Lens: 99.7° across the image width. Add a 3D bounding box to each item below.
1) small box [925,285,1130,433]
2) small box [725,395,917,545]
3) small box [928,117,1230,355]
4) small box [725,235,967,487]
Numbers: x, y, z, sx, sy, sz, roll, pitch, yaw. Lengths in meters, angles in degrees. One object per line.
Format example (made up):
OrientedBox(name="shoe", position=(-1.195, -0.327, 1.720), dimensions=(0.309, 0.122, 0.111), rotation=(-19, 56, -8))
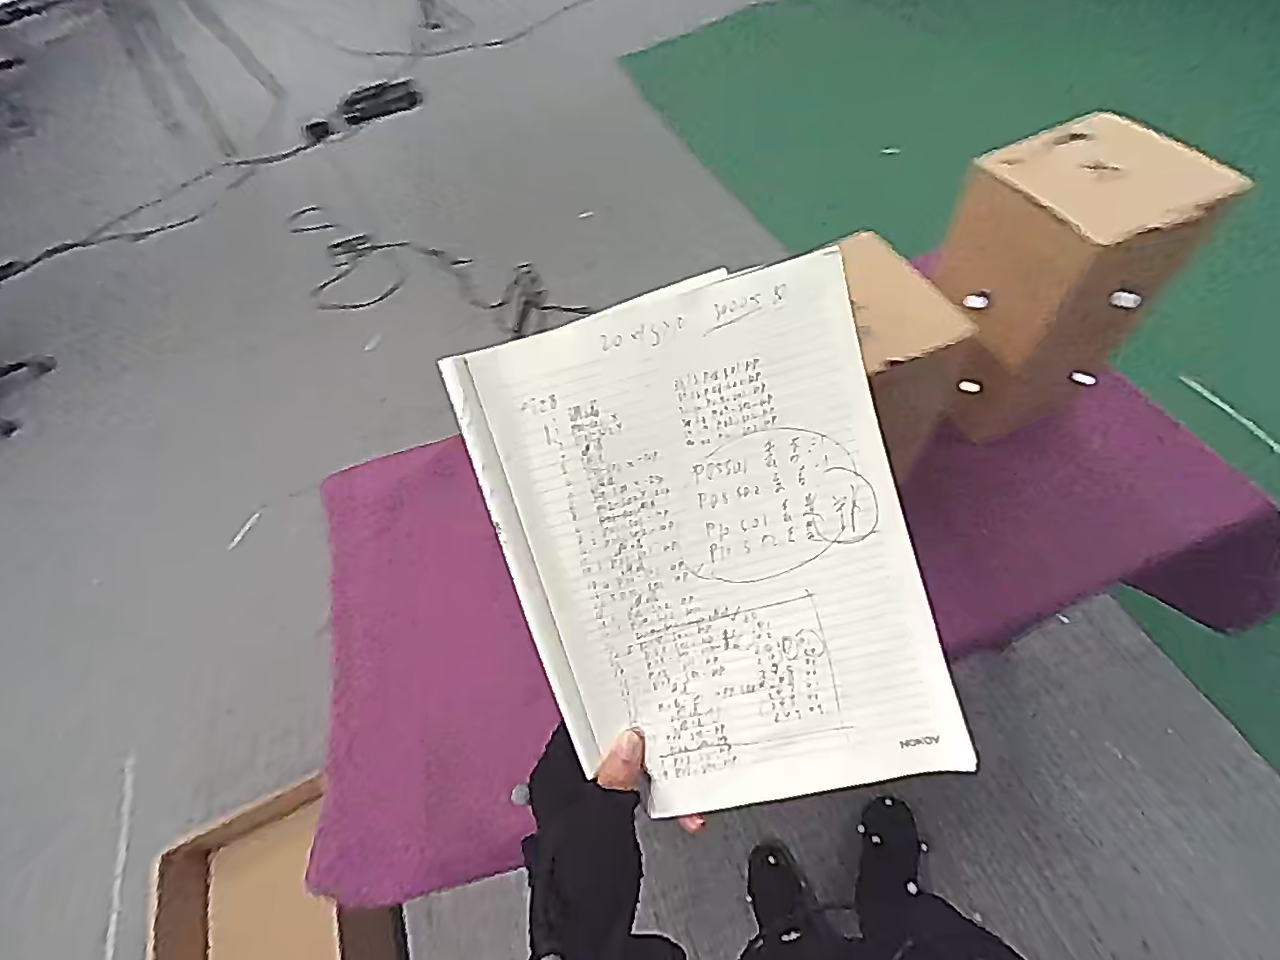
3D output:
OrientedBox(name="small box", position=(0.507, -0.188, 0.763), dimensions=(0.168, 0.176, 0.179), rotation=(-22, 58, -3))
OrientedBox(name="small box", position=(0.228, -0.032, 0.725), dimensions=(0.168, 0.176, 0.179), rotation=(-25, 57, -4))
OrientedBox(name="small box", position=(0.475, -0.268, 0.624), dimensions=(0.168, 0.176, 0.179), rotation=(-22, 59, -4))
OrientedBox(name="small box", position=(0.202, -0.123, 0.589), dimensions=(0.168, 0.176, 0.179), rotation=(-22, 57, -2))
